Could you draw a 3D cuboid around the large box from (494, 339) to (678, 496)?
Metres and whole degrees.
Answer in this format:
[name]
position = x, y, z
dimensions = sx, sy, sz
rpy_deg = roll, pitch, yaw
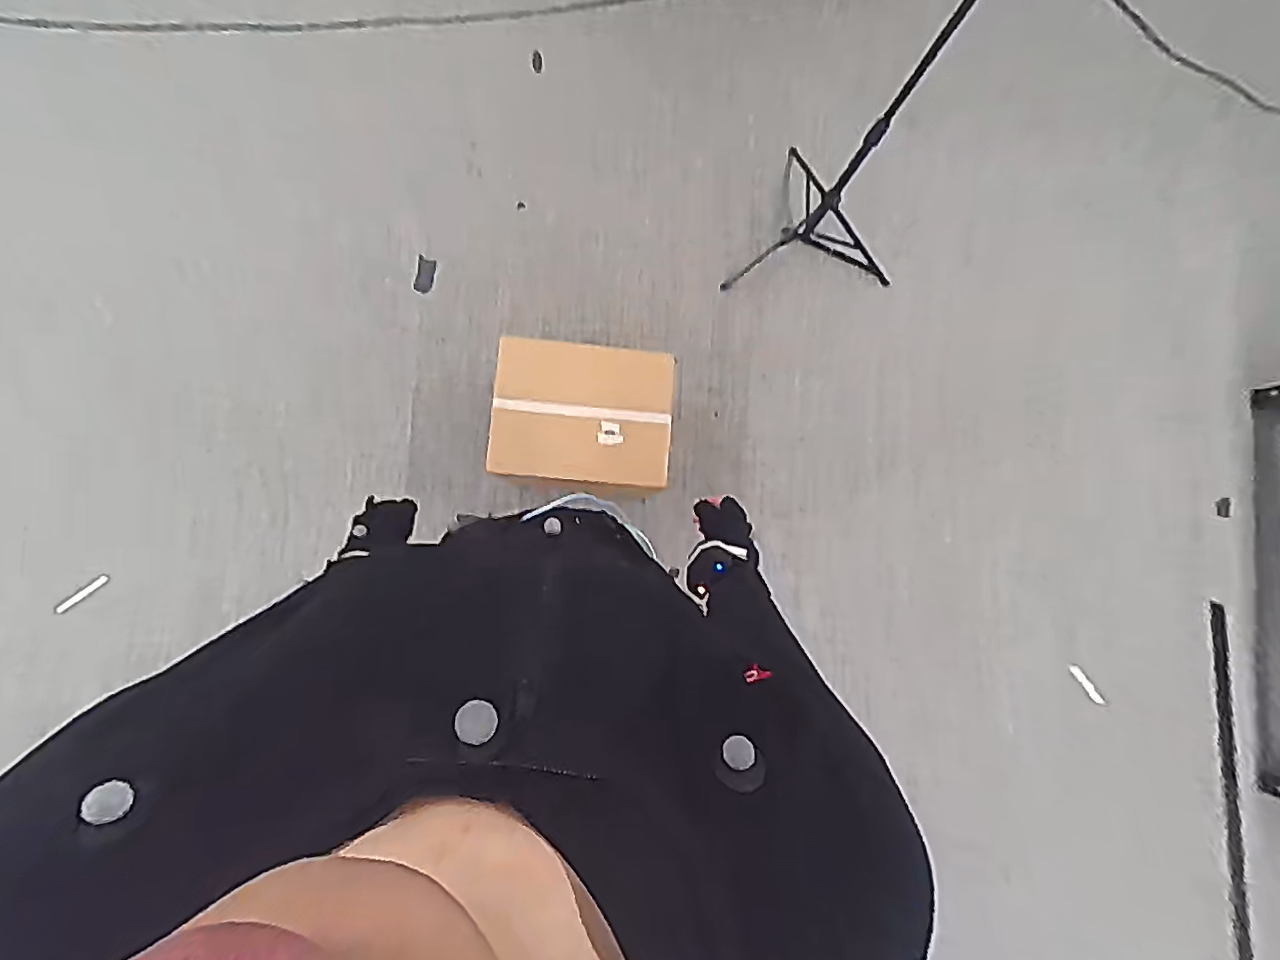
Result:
[large box]
position = -0.134, -0.138, 1.378
dimensions = 0.408, 0.320, 0.320
rpy_deg = 6, 84, -4
